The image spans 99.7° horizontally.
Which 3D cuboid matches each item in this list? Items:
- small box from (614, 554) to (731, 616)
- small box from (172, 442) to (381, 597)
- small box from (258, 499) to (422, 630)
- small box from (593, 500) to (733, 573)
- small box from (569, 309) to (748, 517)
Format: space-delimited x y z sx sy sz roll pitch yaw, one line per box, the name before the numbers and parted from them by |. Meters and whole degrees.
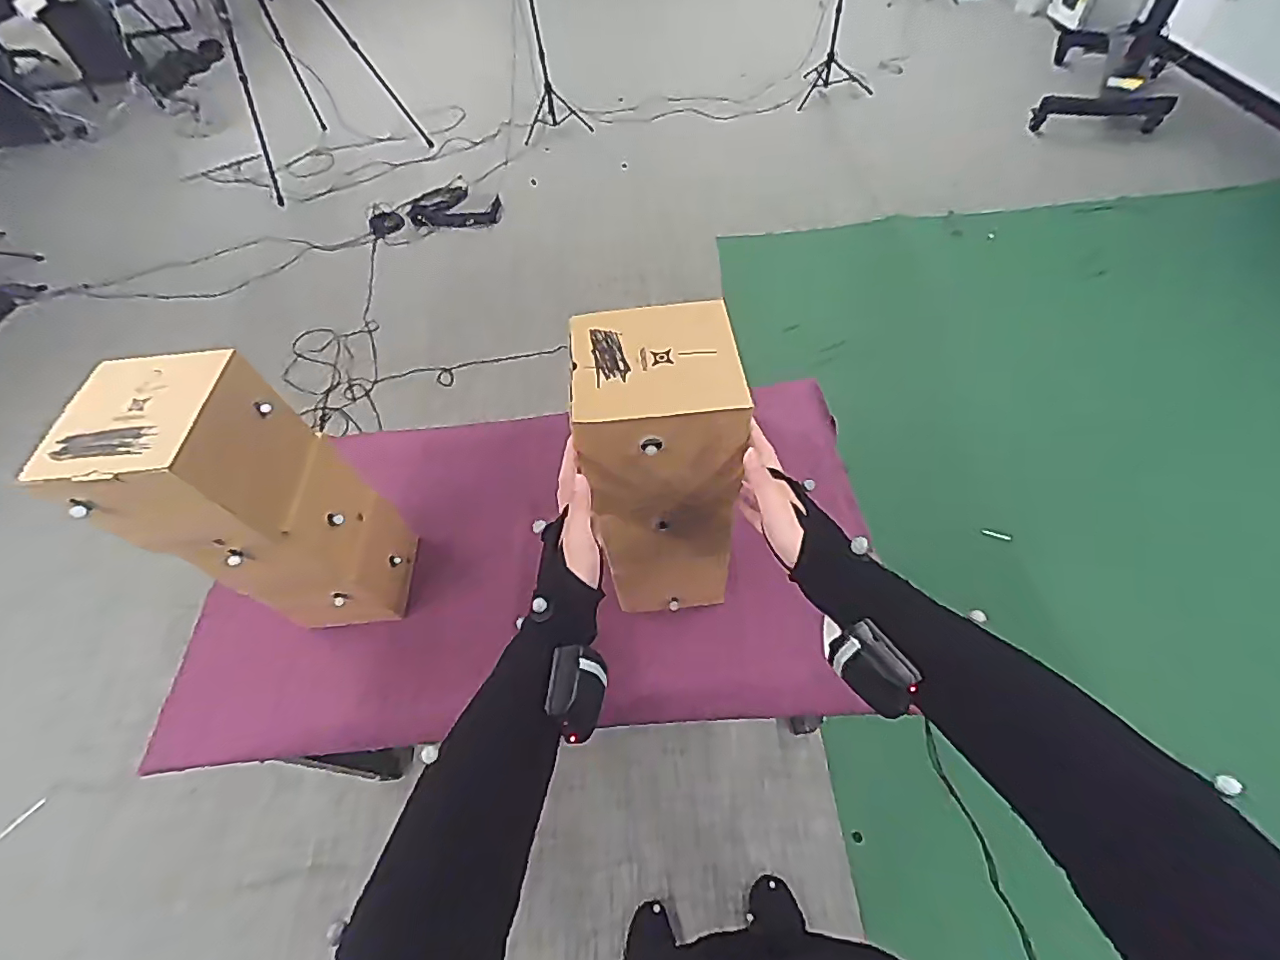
small box | 0.048 0.114 0.903 0.179 0.176 0.168 -7 55 2
small box | -0.519 0.064 0.807 0.179 0.176 0.168 -6 56 3
small box | -0.504 0.152 0.942 0.179 0.176 0.168 -6 55 2
small box | 0.033 0.022 0.769 0.179 0.176 0.168 -6 56 3
small box | 0.019 -0.070 0.625 0.179 0.176 0.168 -6 54 1
